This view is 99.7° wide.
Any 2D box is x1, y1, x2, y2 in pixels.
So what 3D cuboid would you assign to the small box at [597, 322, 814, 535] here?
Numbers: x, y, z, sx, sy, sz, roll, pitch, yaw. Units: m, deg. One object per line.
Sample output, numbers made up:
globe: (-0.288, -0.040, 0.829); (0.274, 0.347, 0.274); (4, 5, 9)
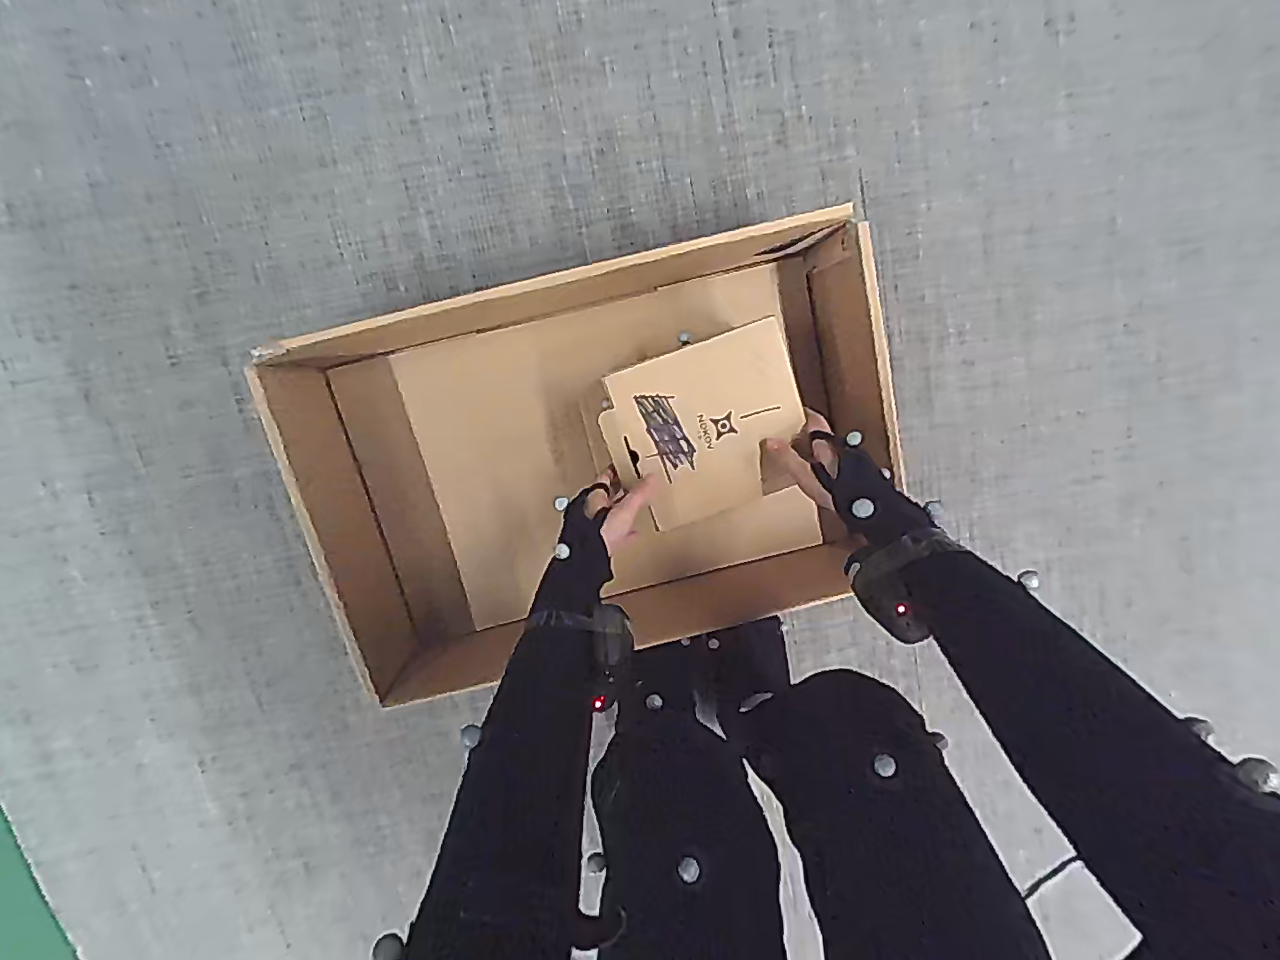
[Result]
small box: (0.064, -0.061, 0.604); (0.179, 0.176, 0.168); (-21, 101, 2)
